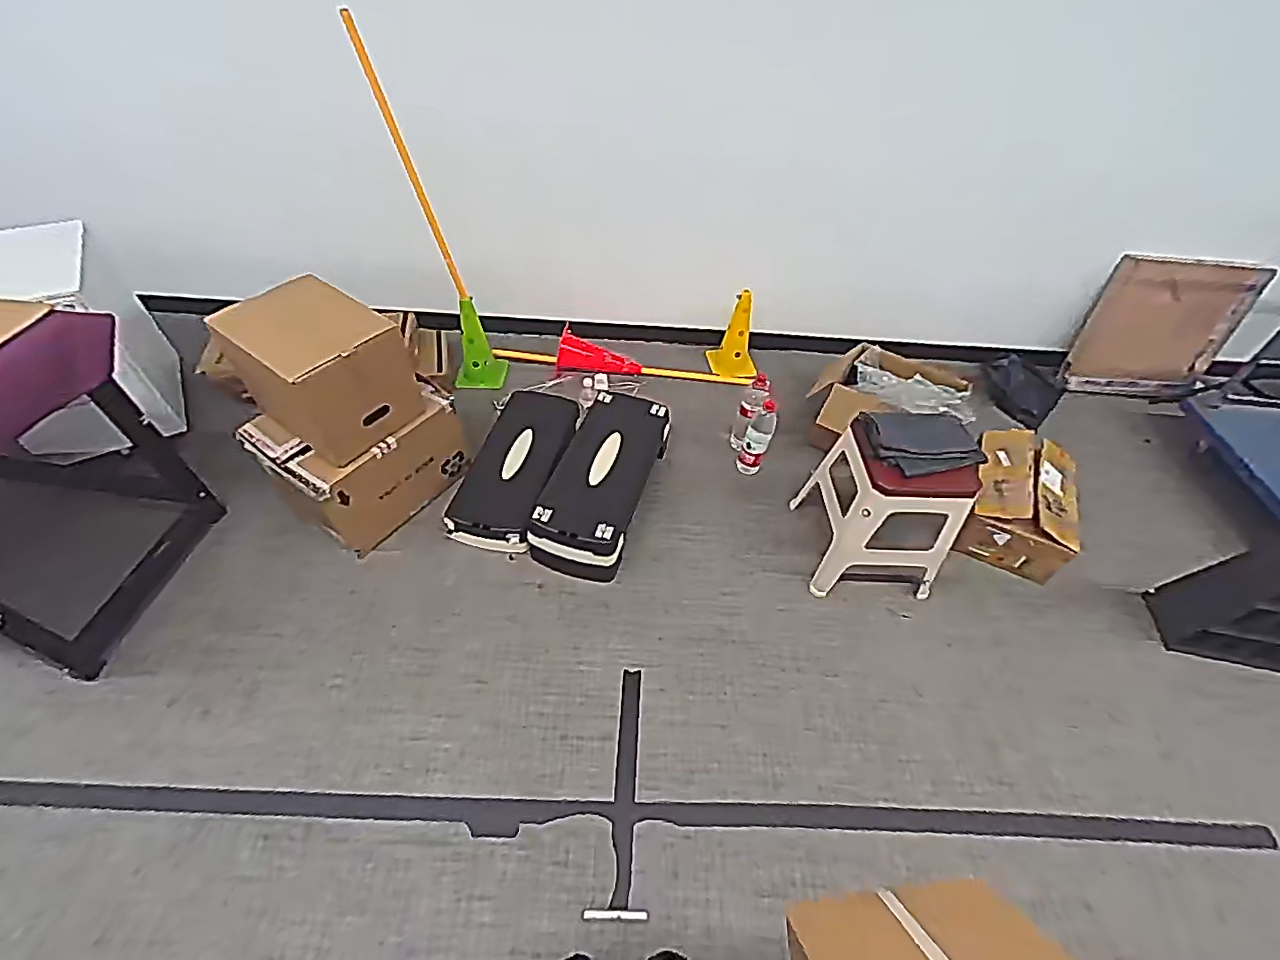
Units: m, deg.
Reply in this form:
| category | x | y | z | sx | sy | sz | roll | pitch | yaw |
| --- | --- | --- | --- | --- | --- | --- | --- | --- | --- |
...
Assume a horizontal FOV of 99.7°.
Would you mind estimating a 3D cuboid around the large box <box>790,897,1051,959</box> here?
| category | x | y | z | sx | sy | sz | roll | pitch | yaw |
| --- | --- | --- | --- | --- | --- | --- | --- | --- | --- |
| large box | 0.400 | 0.772 | 0.607 | 0.320 | 0.408 | 0.320 | -5 | 82 | -5 |
